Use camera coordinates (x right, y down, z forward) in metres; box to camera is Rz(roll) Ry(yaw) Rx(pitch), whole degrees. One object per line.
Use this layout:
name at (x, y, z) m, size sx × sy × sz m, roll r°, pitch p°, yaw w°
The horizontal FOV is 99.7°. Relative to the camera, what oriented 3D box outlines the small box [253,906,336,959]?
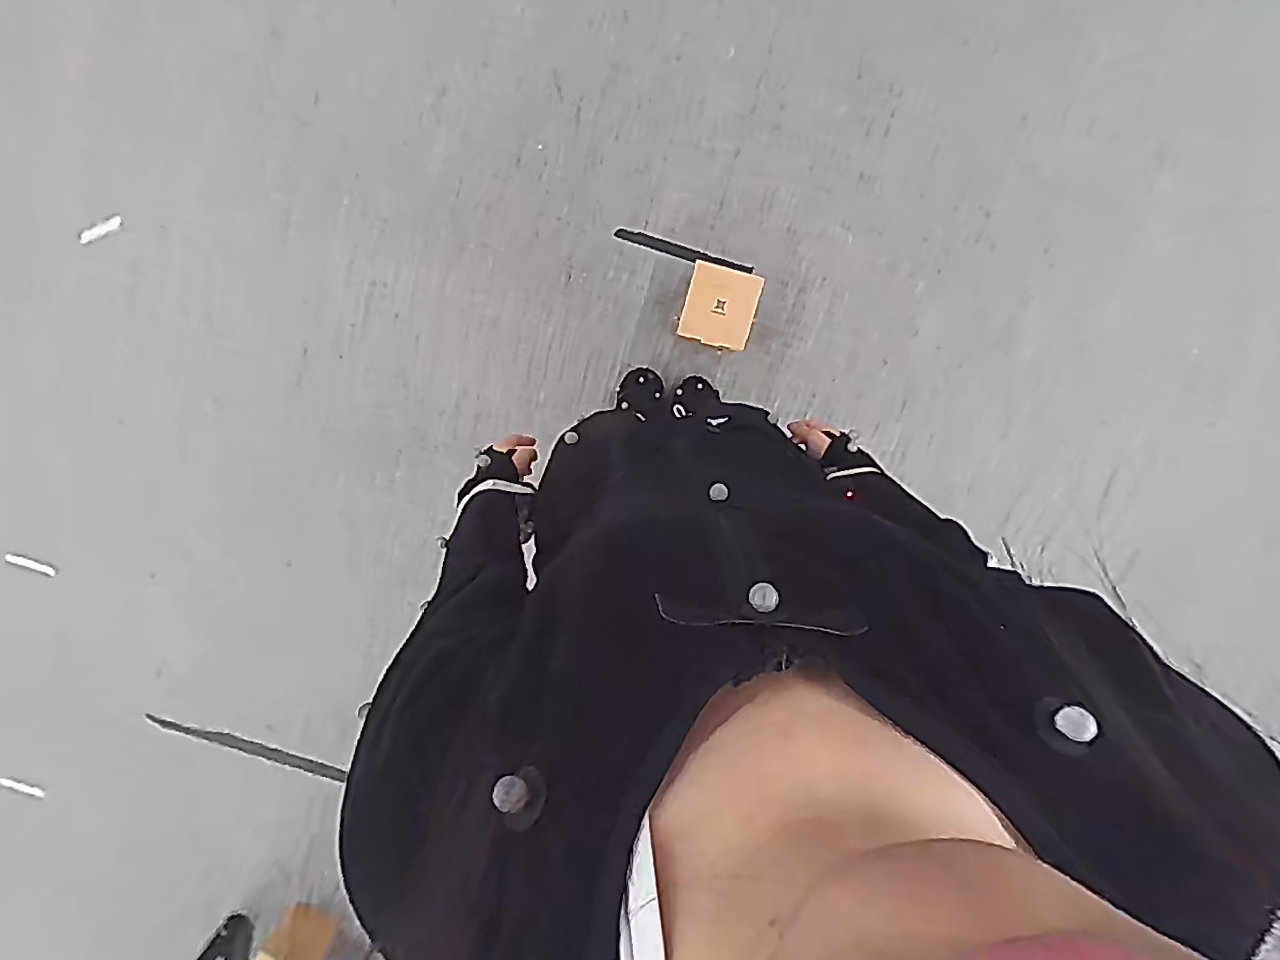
small box at (-1.151, 1.557, 1.776) m, size 0.179 × 0.176 × 0.168 m, roll 35°, pitch 100°, yaw -7°
